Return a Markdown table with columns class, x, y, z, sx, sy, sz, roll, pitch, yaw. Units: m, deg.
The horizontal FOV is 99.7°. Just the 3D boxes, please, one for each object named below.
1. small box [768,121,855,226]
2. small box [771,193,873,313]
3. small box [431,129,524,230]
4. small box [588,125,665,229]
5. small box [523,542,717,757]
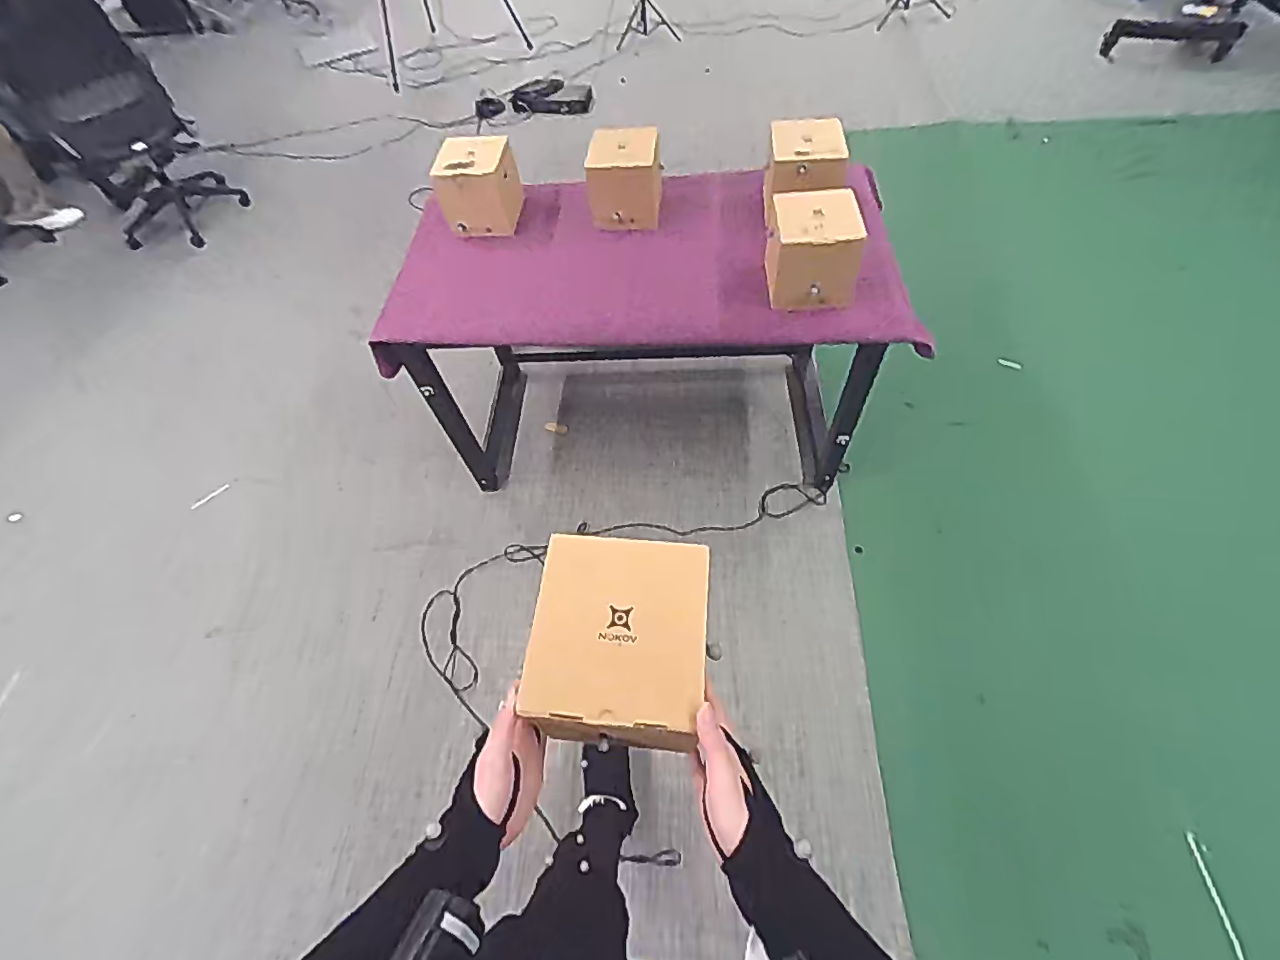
| class | x | y | z | sx | sy | sz | roll | pitch | yaw |
| --- | --- | --- | --- | --- | --- | --- | --- | --- | --- |
| small box | 0.406 | -0.737 | 1.309 | 0.168 | 0.176 | 0.179 | 2 | 59 | 6 |
| small box | 0.375 | -0.479 | 1.149 | 0.168 | 0.176 | 0.179 | 0 | 58 | 6 |
| small box | -0.404 | -0.761 | 1.380 | 0.168 | 0.176 | 0.179 | 2 | 59 | 5 |
| small box | -0.027 | -0.759 | 1.356 | 0.168 | 0.176 | 0.179 | 3 | 60 | 7 |
| small box | -0.013 | 0.185 | 0.574 | 0.168 | 0.176 | 0.179 | 4 | 61 | 4 |
